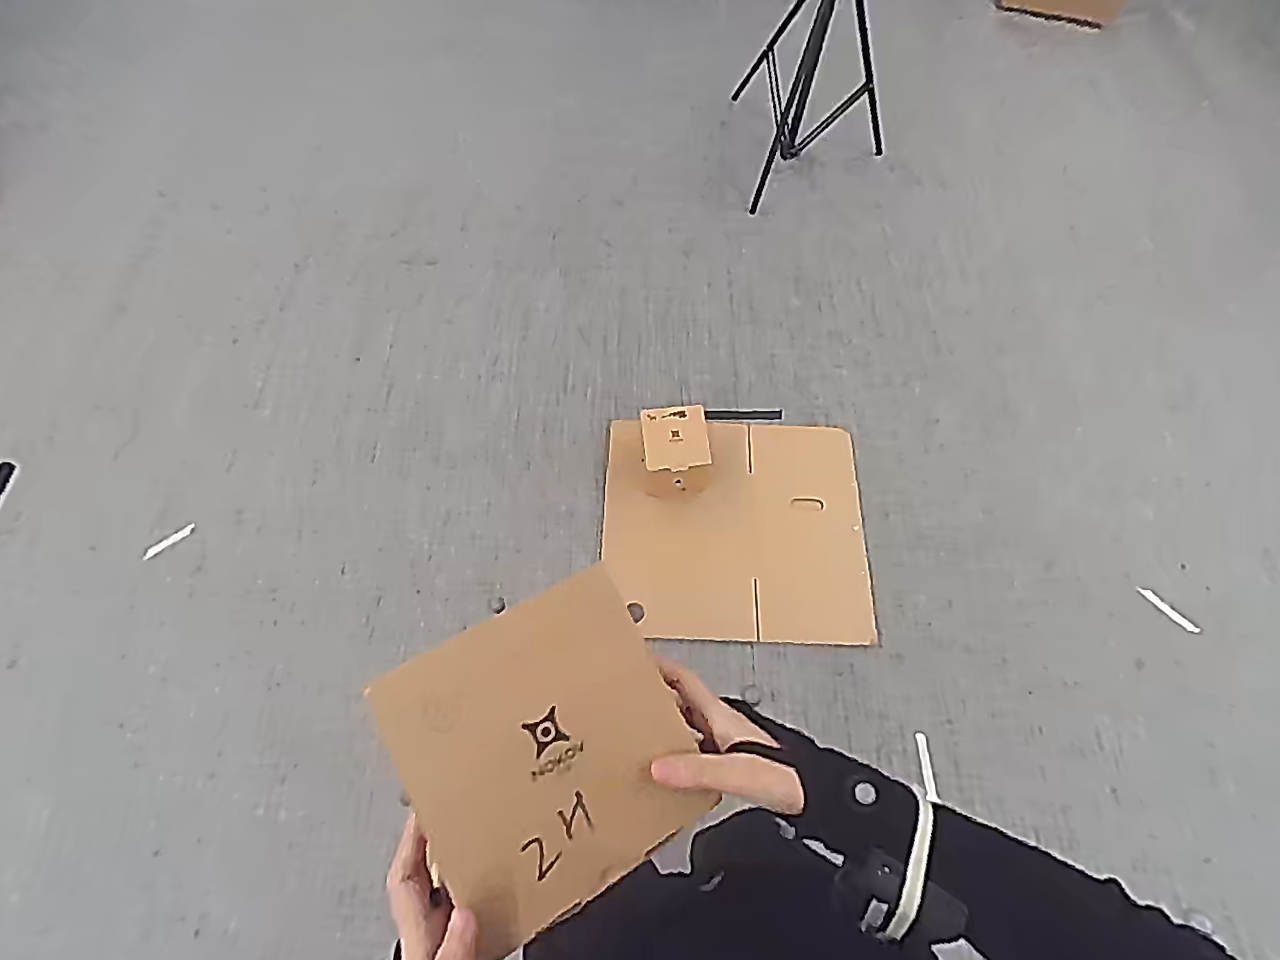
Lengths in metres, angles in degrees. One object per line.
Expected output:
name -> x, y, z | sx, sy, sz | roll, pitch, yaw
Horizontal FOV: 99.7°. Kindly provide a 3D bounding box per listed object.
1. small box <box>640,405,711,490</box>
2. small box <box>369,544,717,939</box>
small box -> 0.091, -0.079, 1.436 | 0.168, 0.176, 0.179 | -5, 68, -2
small box -> -0.075, 0.171, 0.411 | 0.168, 0.176, 0.179 | -24, 82, -17
